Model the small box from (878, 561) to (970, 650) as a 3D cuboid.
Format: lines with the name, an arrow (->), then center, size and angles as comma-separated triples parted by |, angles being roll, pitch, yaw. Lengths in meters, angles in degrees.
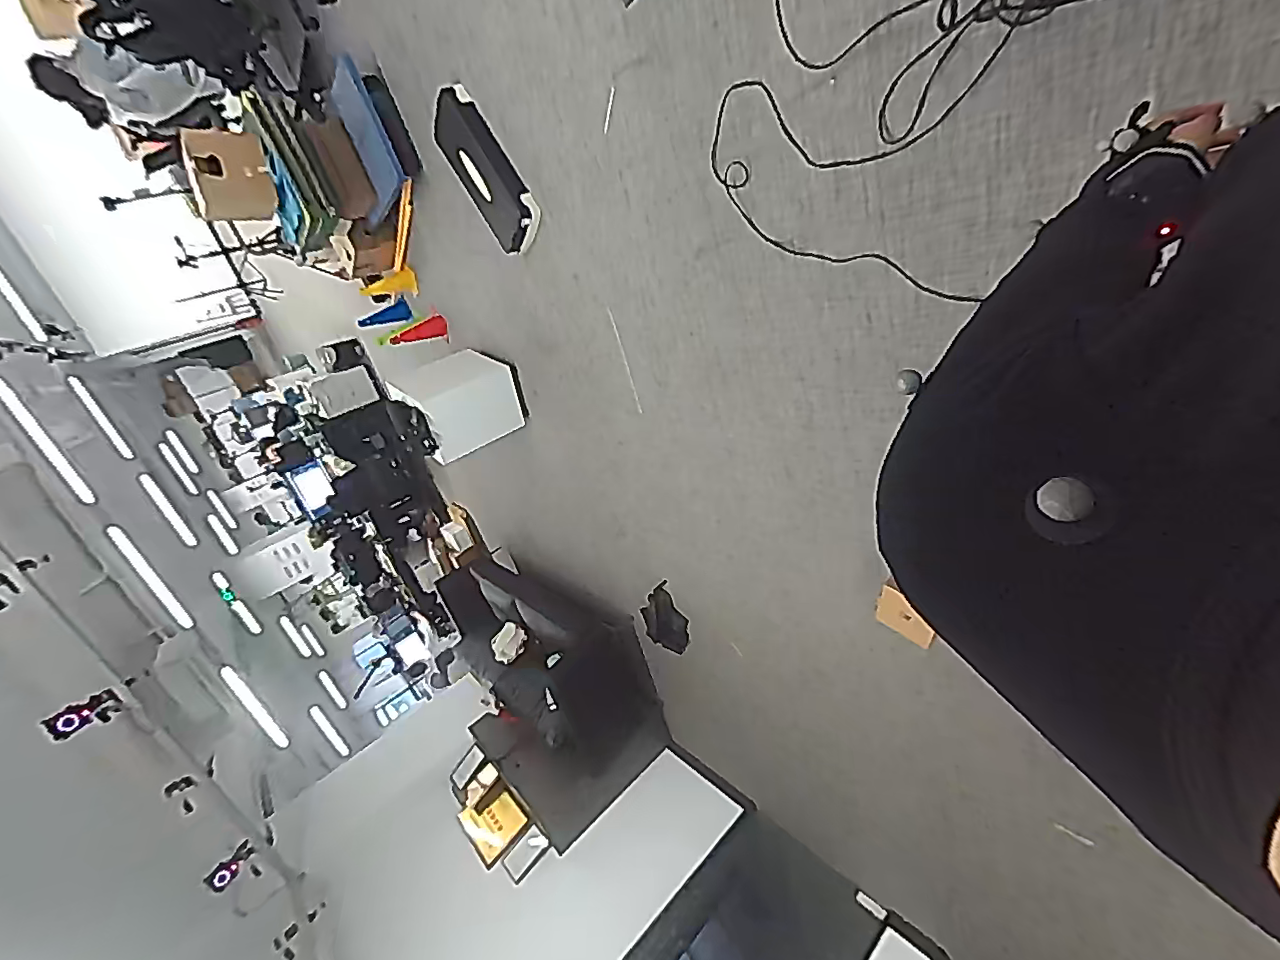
small box -> 0.867, 0.374, 1.655 | 0.179, 0.176, 0.168 | 30, 141, 38
